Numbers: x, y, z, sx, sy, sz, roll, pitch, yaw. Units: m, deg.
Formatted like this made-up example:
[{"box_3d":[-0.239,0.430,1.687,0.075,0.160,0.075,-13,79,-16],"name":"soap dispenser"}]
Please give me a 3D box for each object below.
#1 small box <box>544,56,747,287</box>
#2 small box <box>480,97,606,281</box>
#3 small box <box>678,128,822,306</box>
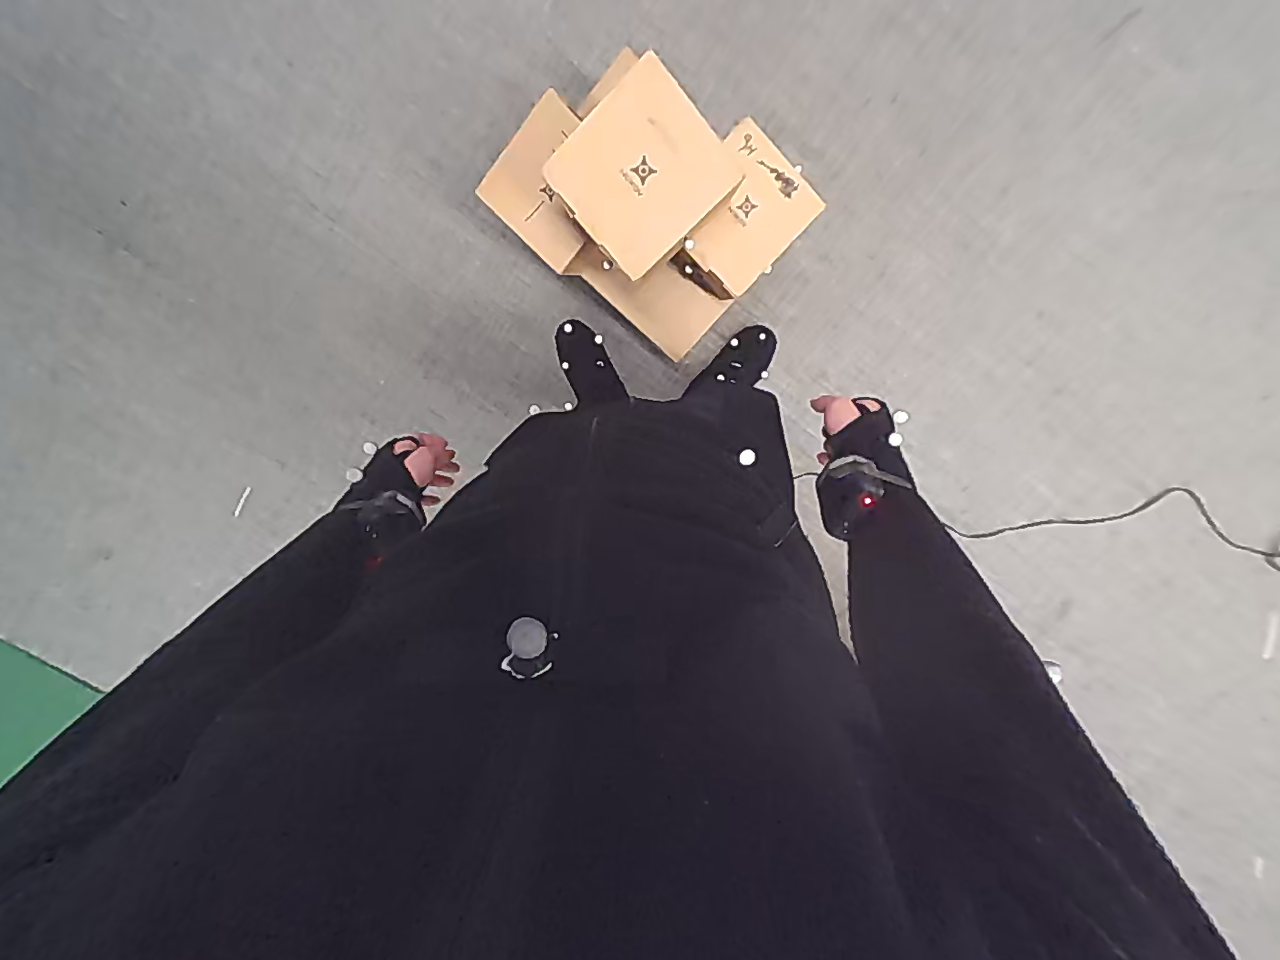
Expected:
[{"box_3d":[0.009,-0.367,0.689,0.179,0.176,0.168,-41,102,12],"name":"small box"},{"box_3d":[-0.111,-0.436,0.844,0.168,0.176,0.179,44,106,-10],"name":"small box"},{"box_3d":[0.148,-0.392,0.847,0.168,0.176,0.179,43,103,-10],"name":"small box"}]
